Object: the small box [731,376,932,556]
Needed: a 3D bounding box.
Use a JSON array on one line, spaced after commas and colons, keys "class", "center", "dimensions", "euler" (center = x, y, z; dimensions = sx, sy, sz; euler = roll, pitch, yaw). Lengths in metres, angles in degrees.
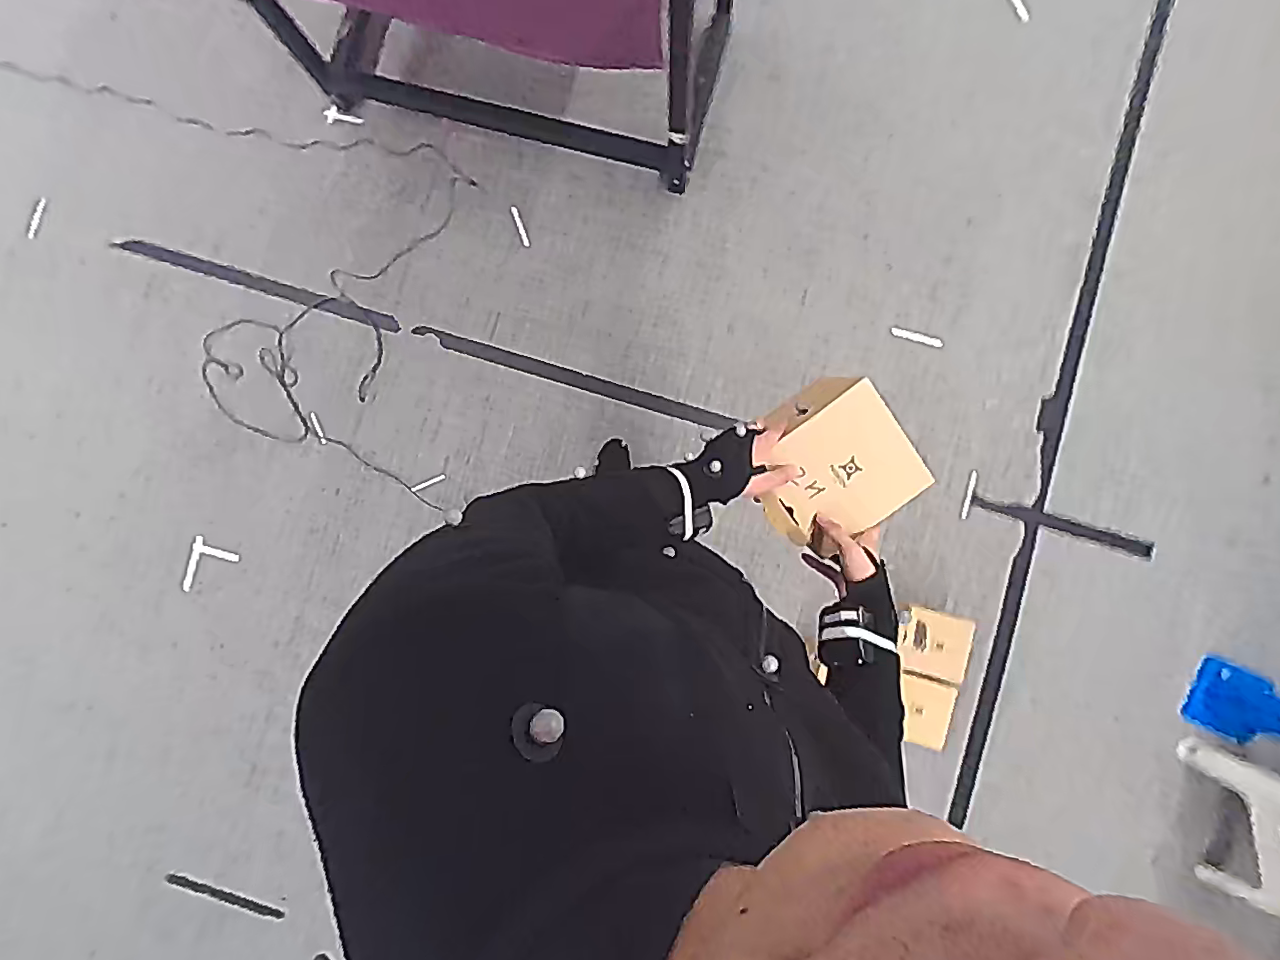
[{"class": "small box", "center": [0.251, -0.029, 0.753], "dimensions": [0.179, 0.176, 0.168], "euler": [-37, 99, 5]}]
